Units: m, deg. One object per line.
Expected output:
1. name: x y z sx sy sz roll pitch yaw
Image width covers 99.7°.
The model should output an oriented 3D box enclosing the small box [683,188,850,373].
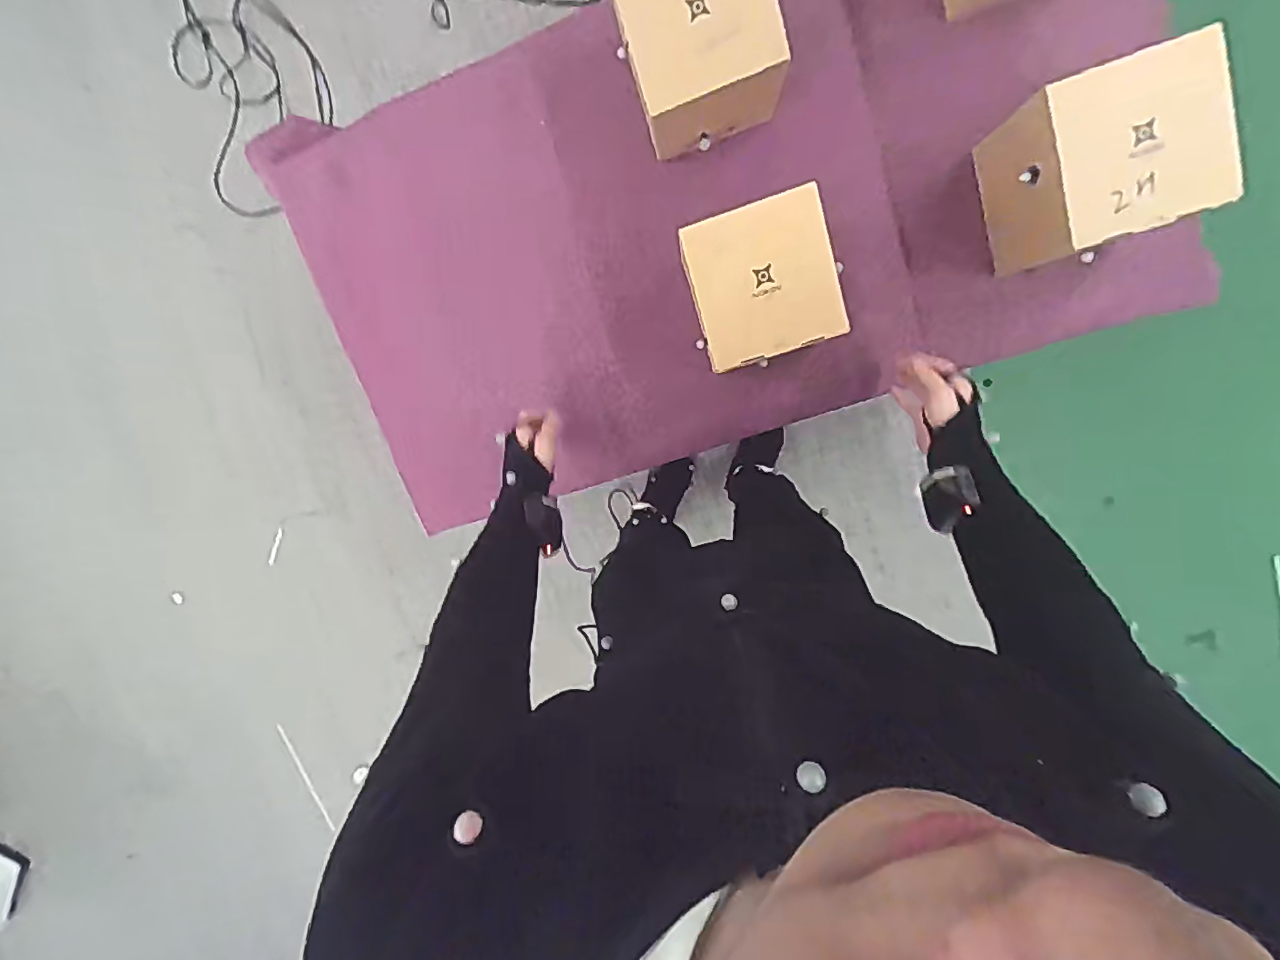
1. small box: 0.157 -0.248 0.721 0.168 0.176 0.179 -16 99 9

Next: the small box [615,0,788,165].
1. small box: 0.070 -0.532 0.671 0.168 0.176 0.179 -16 101 10

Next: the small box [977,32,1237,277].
1. small box: 0.537 -0.367 0.648 0.168 0.176 0.179 -15 98 11
